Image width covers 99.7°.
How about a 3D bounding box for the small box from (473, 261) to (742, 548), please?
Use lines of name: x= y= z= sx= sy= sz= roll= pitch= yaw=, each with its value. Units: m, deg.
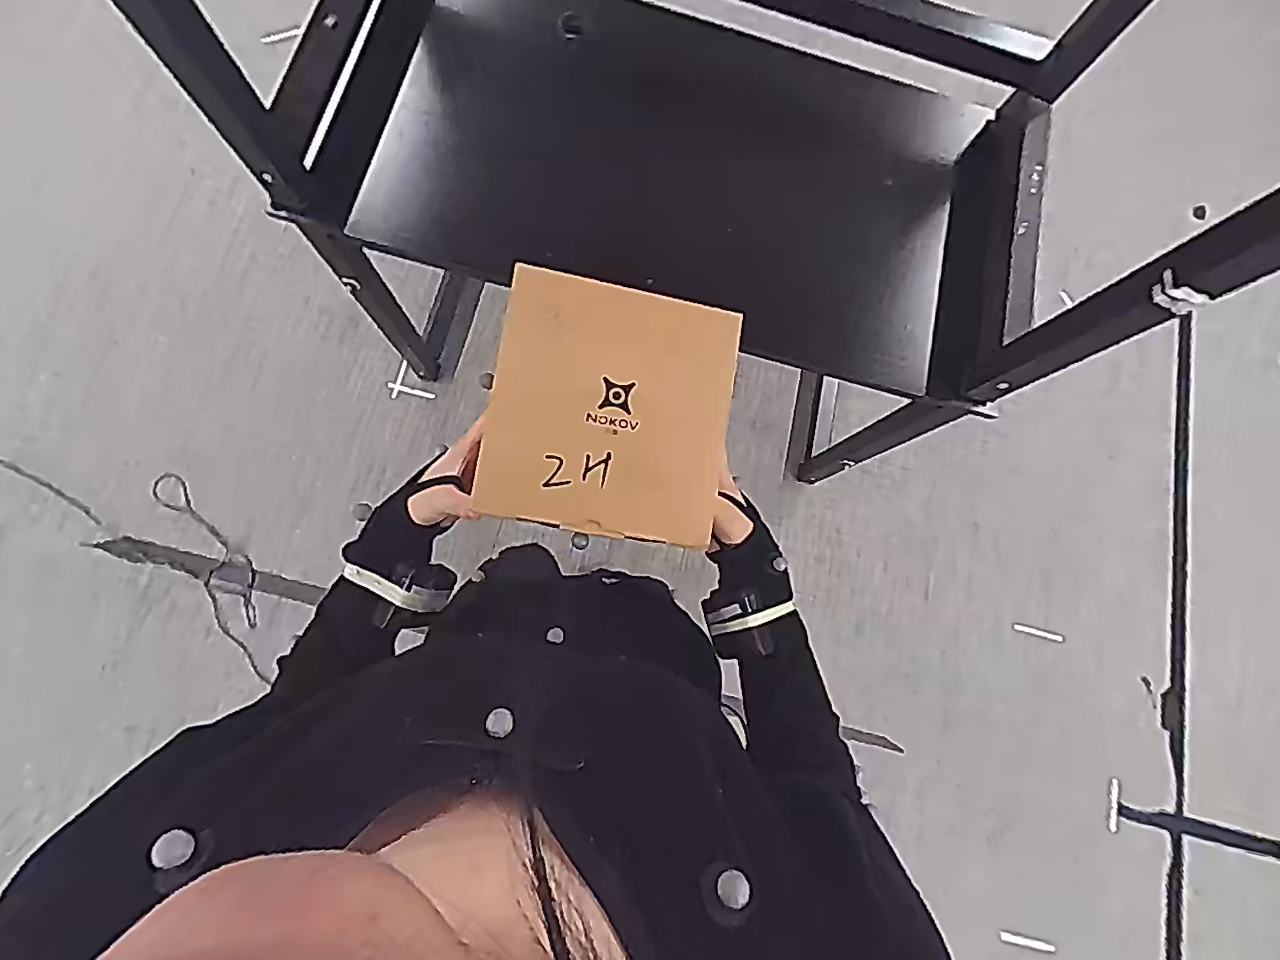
small box: x=-0.030 y=-0.045 z=0.450 sx=0.168 sy=0.176 sz=0.179 roll=10 pitch=84 yaw=-8
